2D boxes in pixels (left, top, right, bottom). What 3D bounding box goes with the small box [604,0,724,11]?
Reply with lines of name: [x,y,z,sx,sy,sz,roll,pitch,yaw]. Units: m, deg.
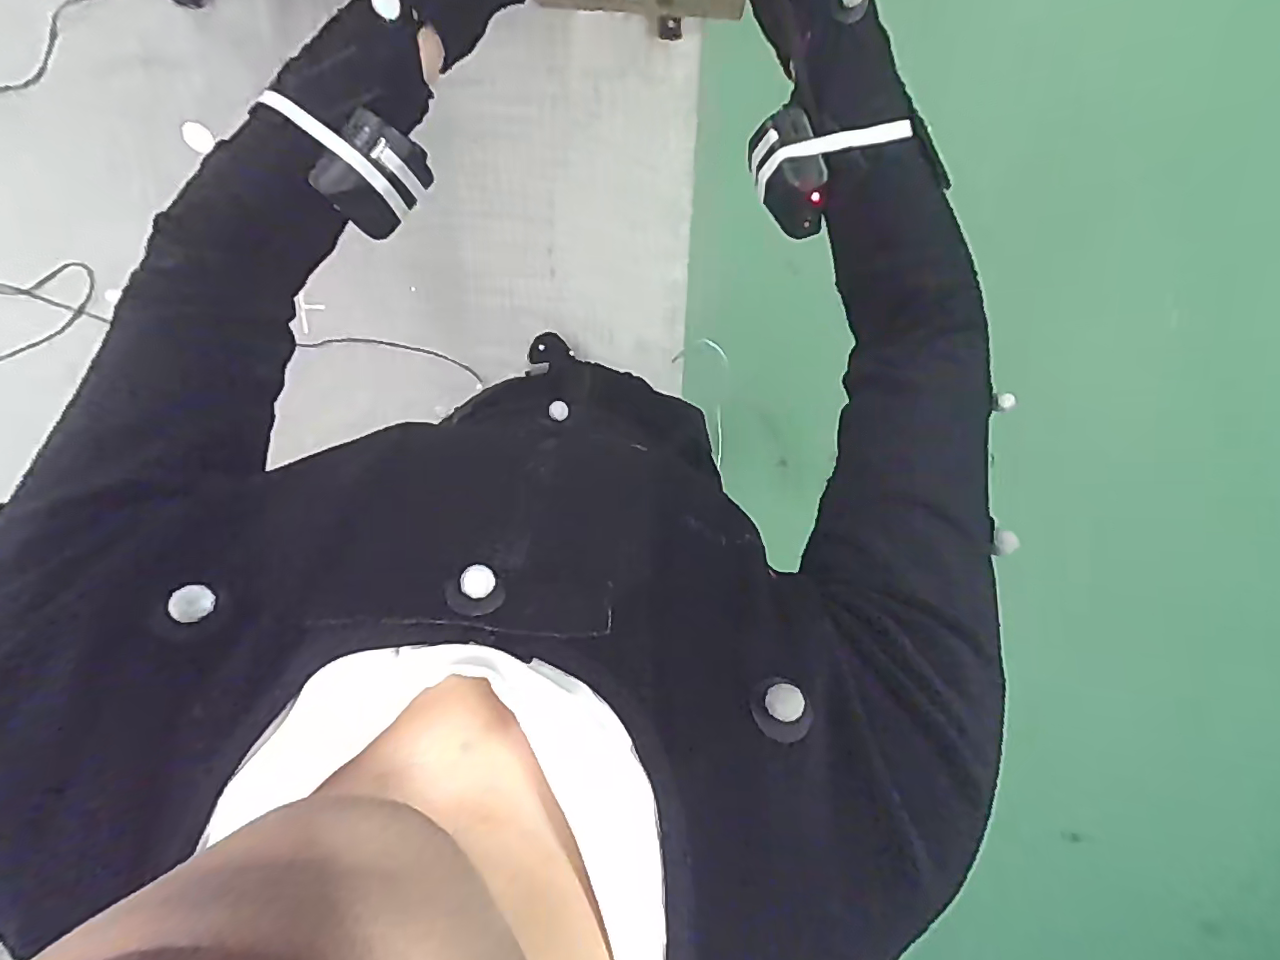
small box: [-0.008,-0.433,0.320,0.168,0.176,0.179,5,106,2]
